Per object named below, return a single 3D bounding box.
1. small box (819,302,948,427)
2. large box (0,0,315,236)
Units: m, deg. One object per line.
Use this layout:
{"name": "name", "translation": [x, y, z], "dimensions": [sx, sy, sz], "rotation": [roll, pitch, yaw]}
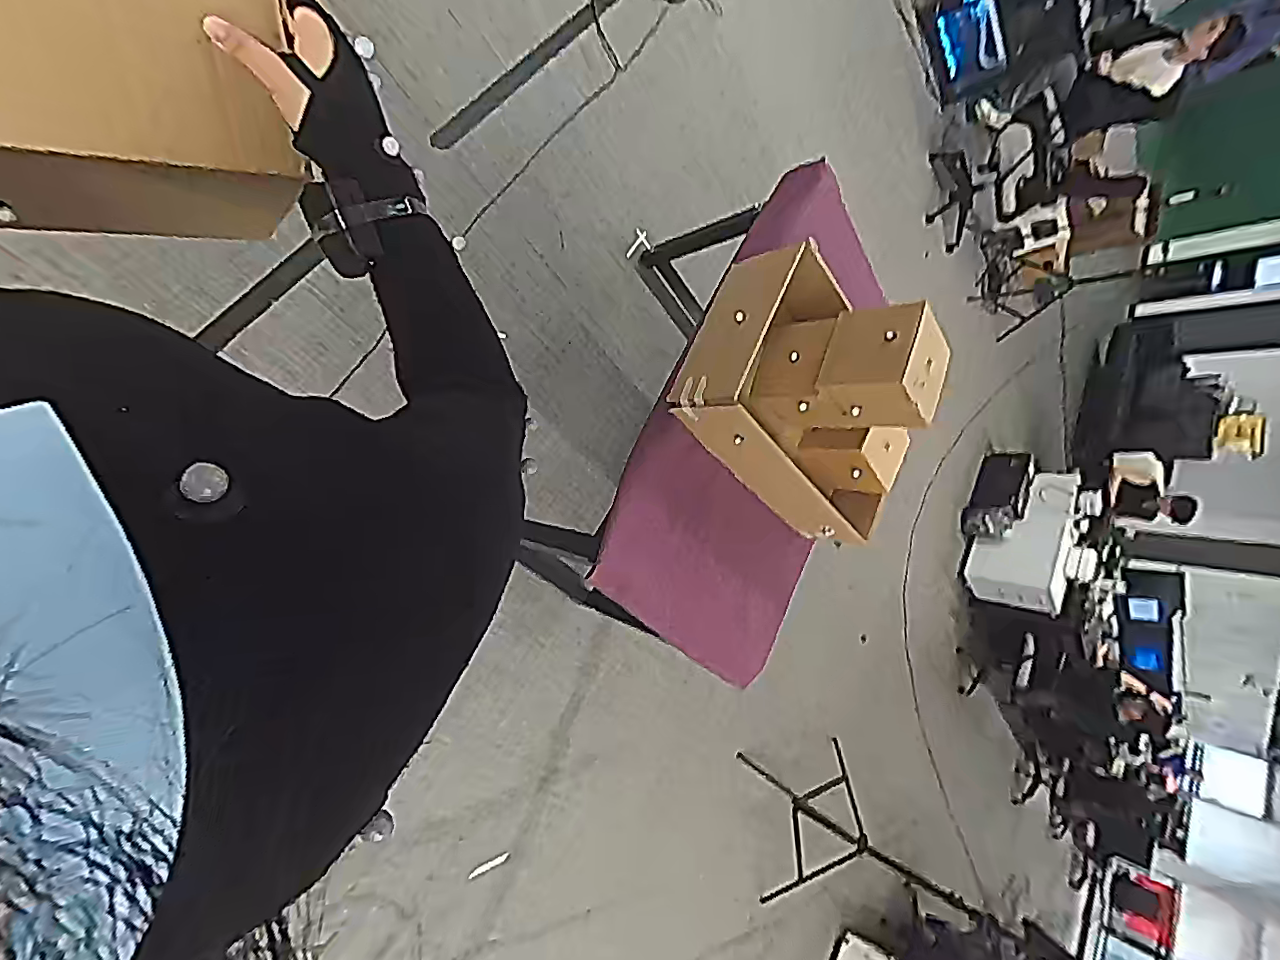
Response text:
{"name": "small box", "translation": [0.476, -0.219, 1.061], "dimensions": [0.168, 0.176, 0.179], "rotation": [34, 73, -40]}
{"name": "large box", "translation": [-0.521, -0.372, 0.396], "dimensions": [0.408, 0.320, 0.320], "rotation": [-16, 109, -37]}
